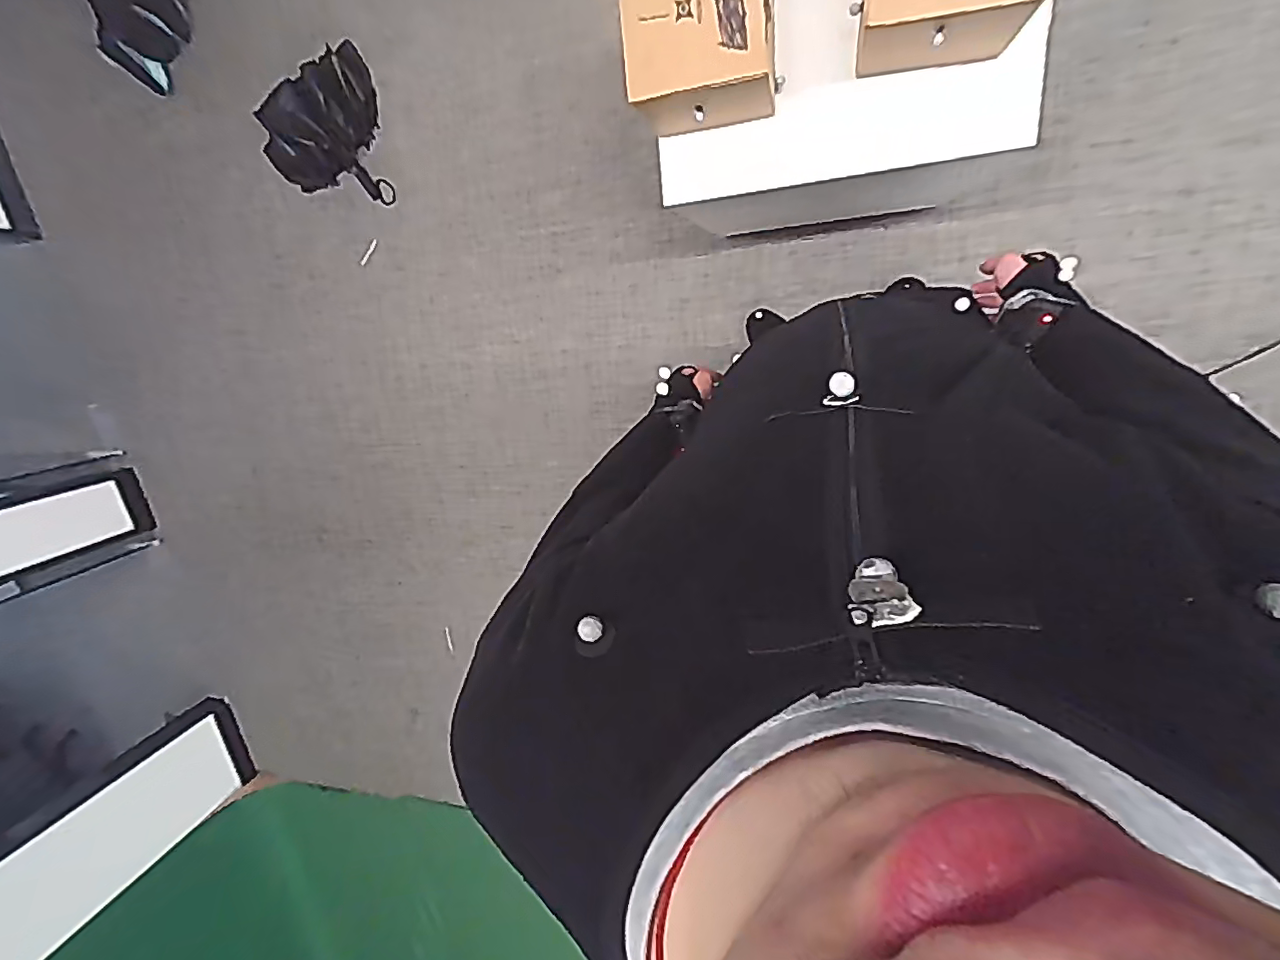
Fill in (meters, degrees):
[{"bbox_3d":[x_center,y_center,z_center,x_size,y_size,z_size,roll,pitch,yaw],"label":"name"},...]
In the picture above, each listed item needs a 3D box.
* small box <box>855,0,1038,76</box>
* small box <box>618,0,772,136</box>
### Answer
[{"bbox_3d":[0.349,-0.594,0.619,0.179,0.176,0.168,4,111,16],"label":"small box"},{"bbox_3d":[0.081,-0.576,0.708,0.179,0.176,0.168,1,108,18],"label":"small box"}]
